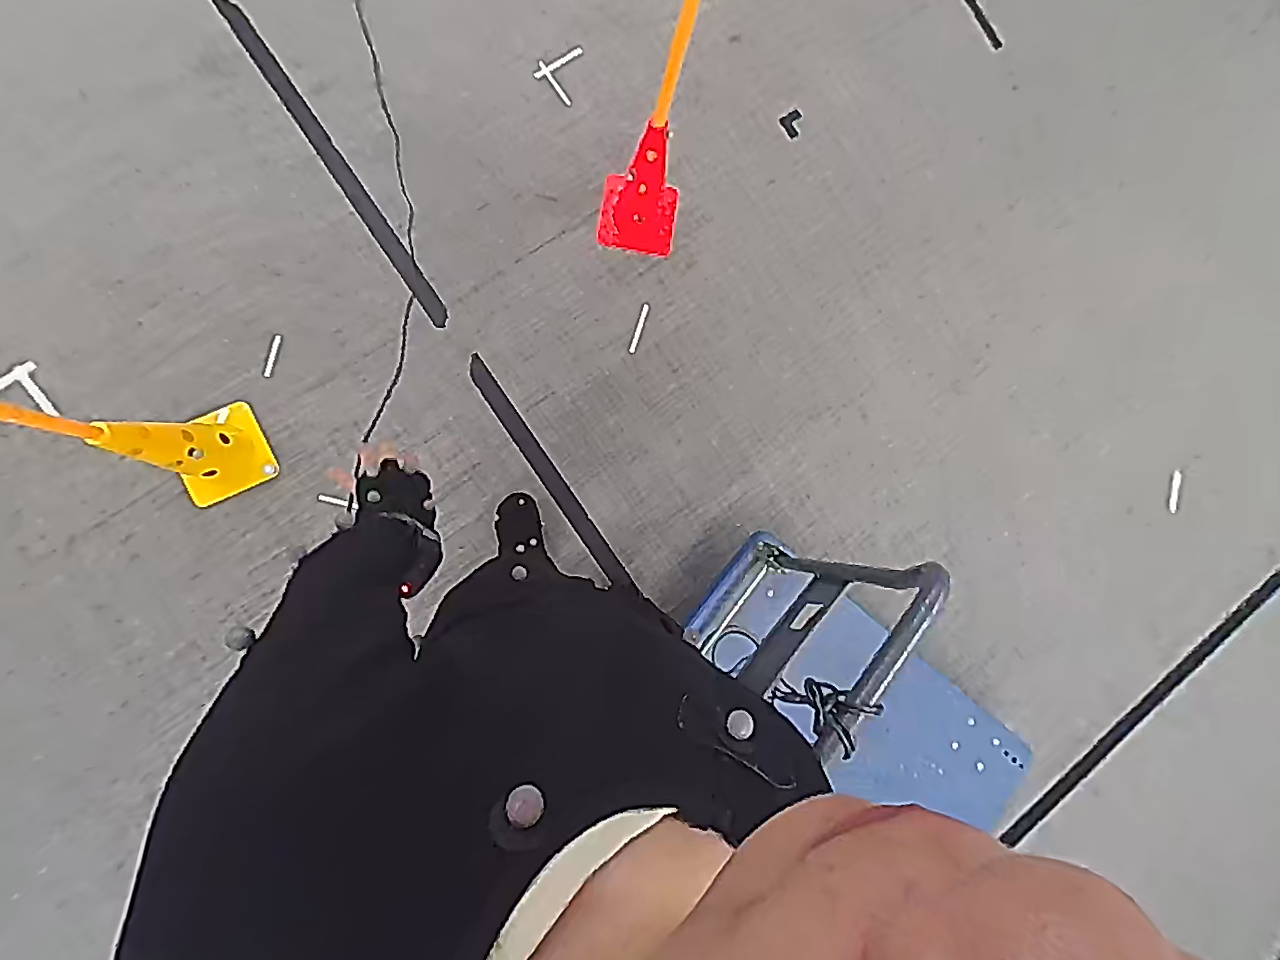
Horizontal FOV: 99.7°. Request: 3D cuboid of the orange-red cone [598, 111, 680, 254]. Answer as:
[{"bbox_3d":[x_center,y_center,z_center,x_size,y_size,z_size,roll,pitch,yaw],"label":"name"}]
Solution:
[{"bbox_3d":[0.018,-0.720,1.271,0.198,0.360,0.199,10,86,-6],"label":"orange-red cone"}]
